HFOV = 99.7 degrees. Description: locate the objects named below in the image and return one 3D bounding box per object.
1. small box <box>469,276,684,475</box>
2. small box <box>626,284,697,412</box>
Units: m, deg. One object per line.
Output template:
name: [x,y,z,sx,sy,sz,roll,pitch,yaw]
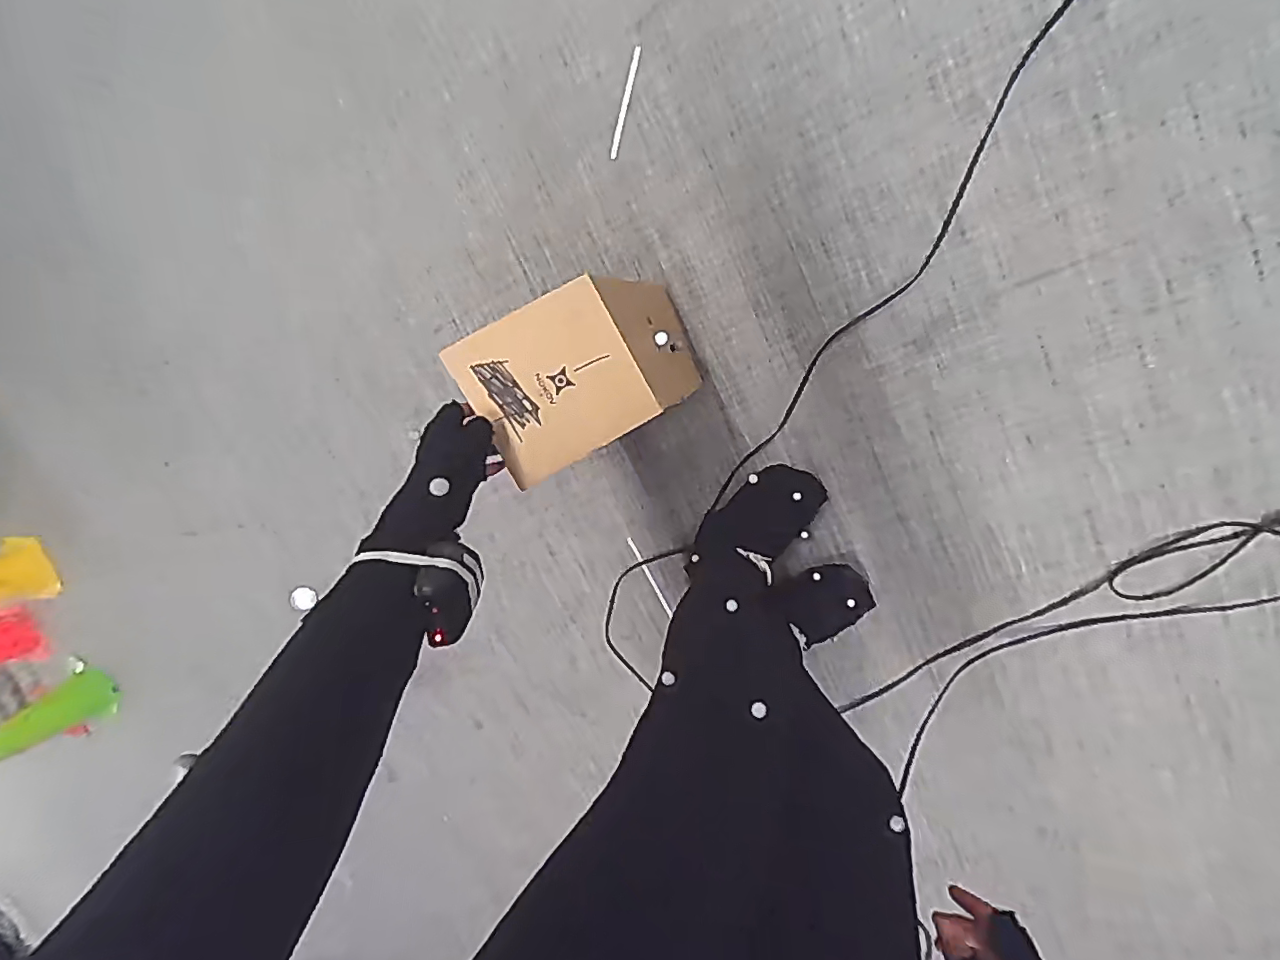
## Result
small box: [-0.067,-0.130,0.672,0.179,0.176,0.168,-26,99,21]
small box: [-0.026,-0.184,0.823,0.168,0.176,0.179,-20,102,21]
